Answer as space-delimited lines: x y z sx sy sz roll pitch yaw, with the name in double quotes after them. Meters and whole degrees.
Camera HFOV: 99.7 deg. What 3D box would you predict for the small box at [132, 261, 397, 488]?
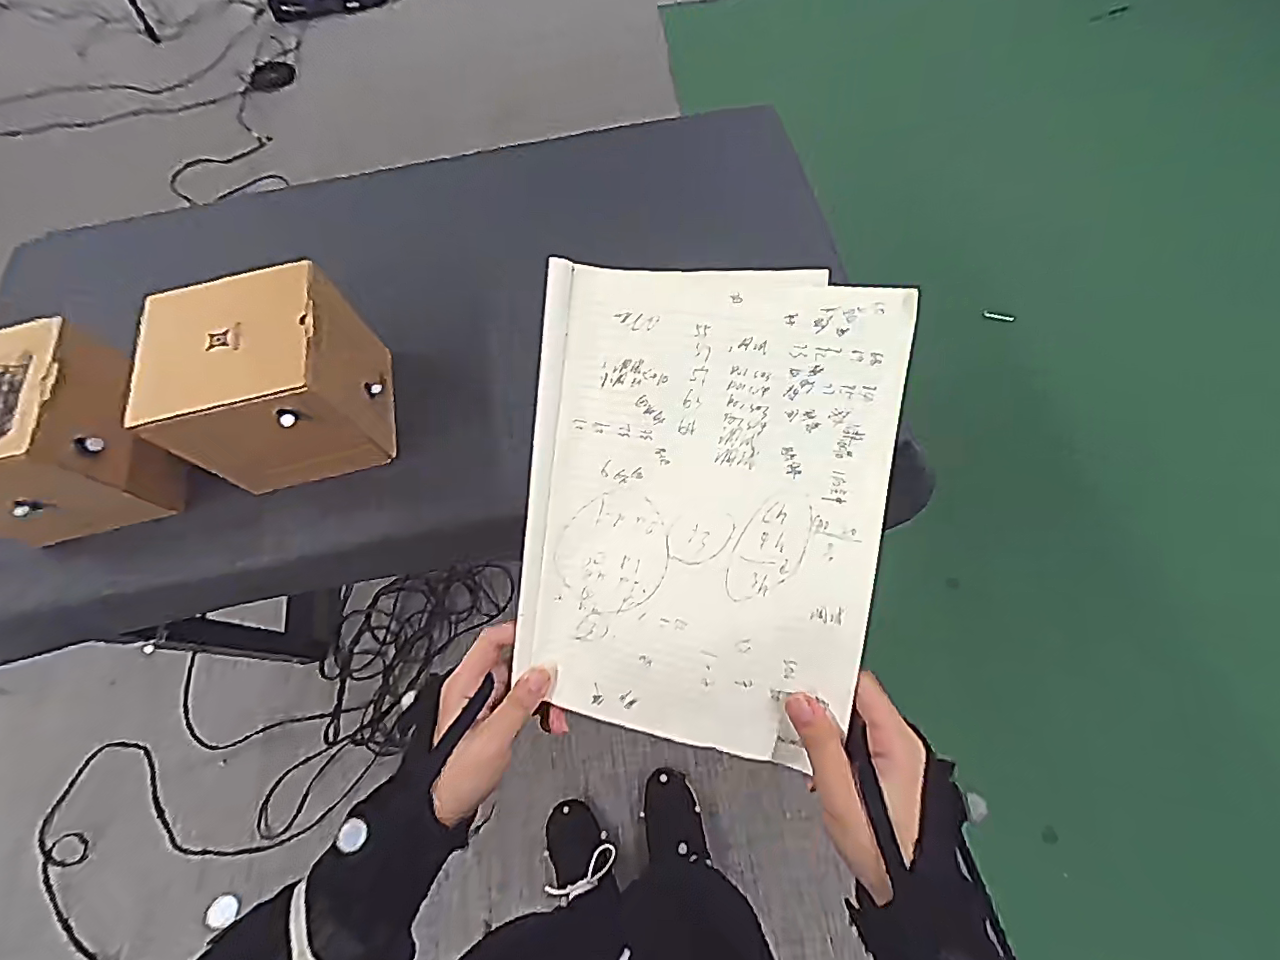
-0.402 -0.108 0.611 0.179 0.176 0.168 -14 66 -2 "small box"
